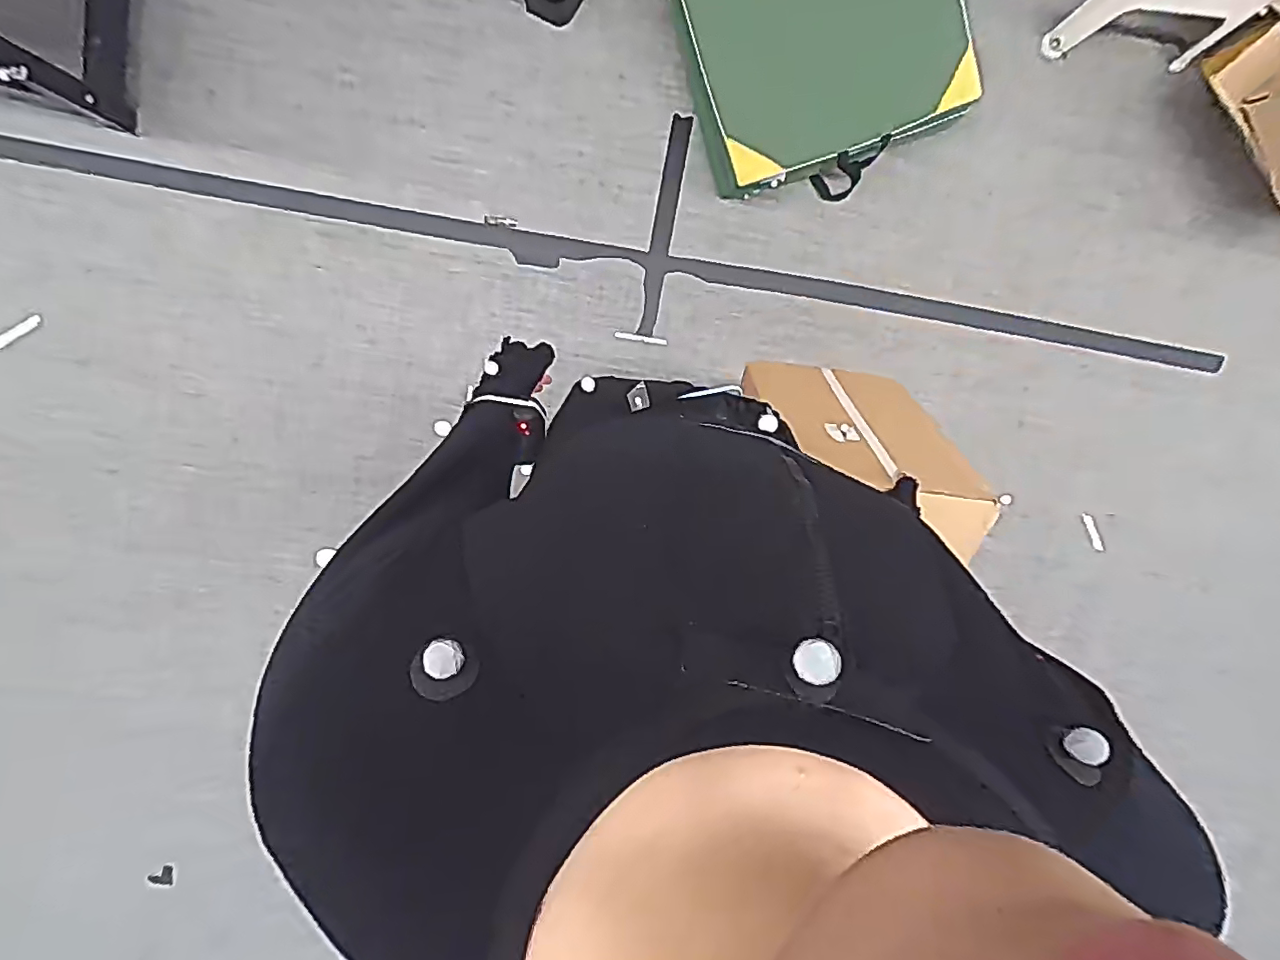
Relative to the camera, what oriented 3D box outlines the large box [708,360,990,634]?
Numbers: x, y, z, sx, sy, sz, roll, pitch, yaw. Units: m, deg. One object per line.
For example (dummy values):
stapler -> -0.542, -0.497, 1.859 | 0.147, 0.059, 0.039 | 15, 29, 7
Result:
large box -> 0.327, 0.019, 1.003 | 0.320, 0.408, 0.320 | 6, 127, -4
